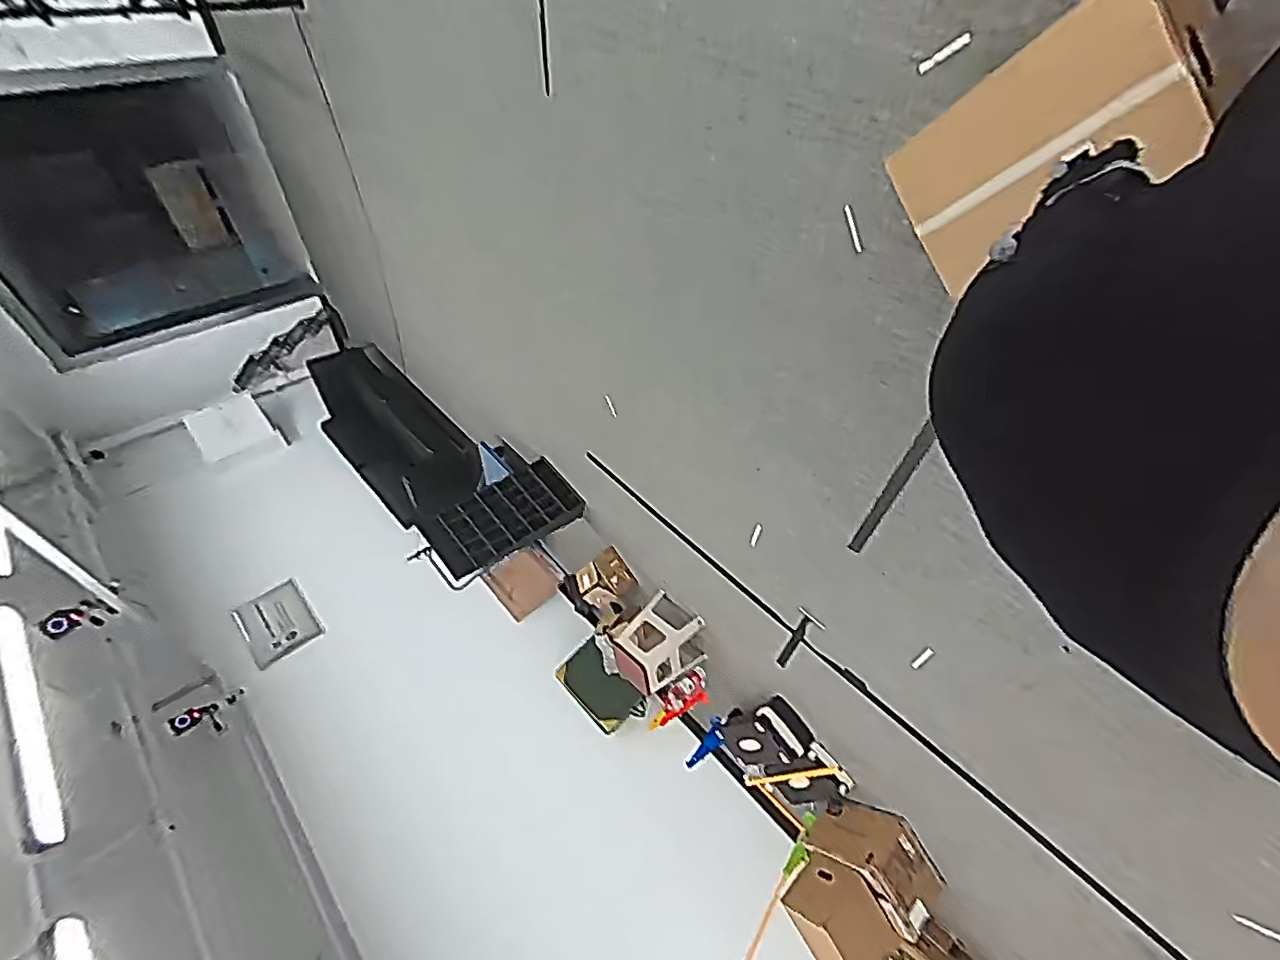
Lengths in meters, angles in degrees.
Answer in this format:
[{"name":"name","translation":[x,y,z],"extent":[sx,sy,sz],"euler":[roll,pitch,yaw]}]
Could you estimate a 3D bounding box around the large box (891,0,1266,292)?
[{"name":"large box","translation":[0.764,-0.611,0.978],"extent":[0.320,0.320,0.408],"euler":[59,150,-5]}]
